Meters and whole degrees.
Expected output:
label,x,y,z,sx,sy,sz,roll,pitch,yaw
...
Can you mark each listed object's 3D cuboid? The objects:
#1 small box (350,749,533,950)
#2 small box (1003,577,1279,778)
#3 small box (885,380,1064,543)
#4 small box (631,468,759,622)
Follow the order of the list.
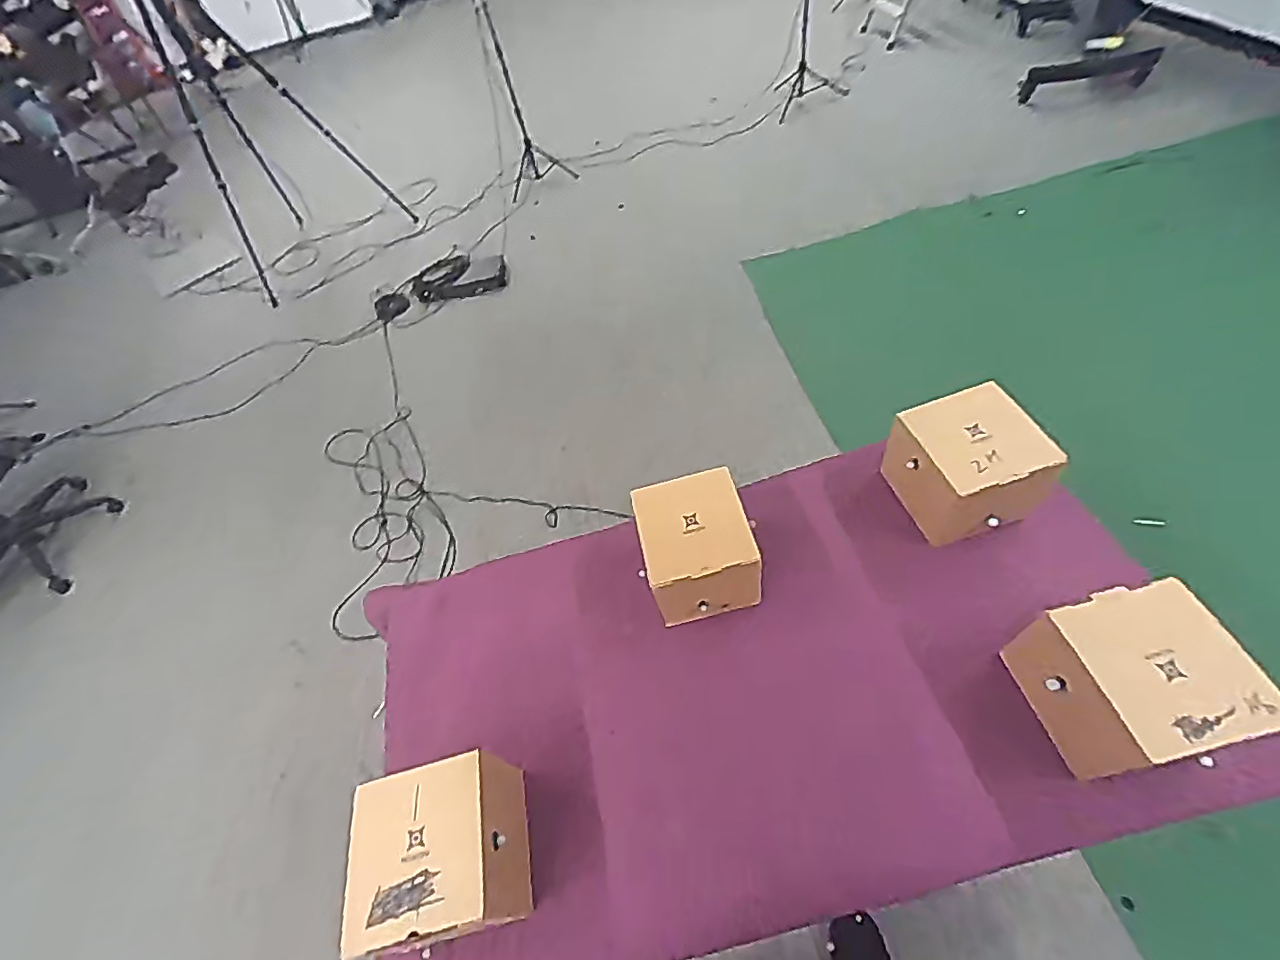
label,x,y,z,sx,sy,sz,roll,pitch,yaw
small box,-0.251,0.485,0.719,0.168,0.176,0.179,-17,52,1
small box,0.602,0.251,0.677,0.168,0.176,0.179,-17,54,3
small box,0.525,-0.026,0.886,0.168,0.176,0.179,-20,54,3
small box,0.091,0.112,0.900,0.168,0.176,0.179,-15,56,2
